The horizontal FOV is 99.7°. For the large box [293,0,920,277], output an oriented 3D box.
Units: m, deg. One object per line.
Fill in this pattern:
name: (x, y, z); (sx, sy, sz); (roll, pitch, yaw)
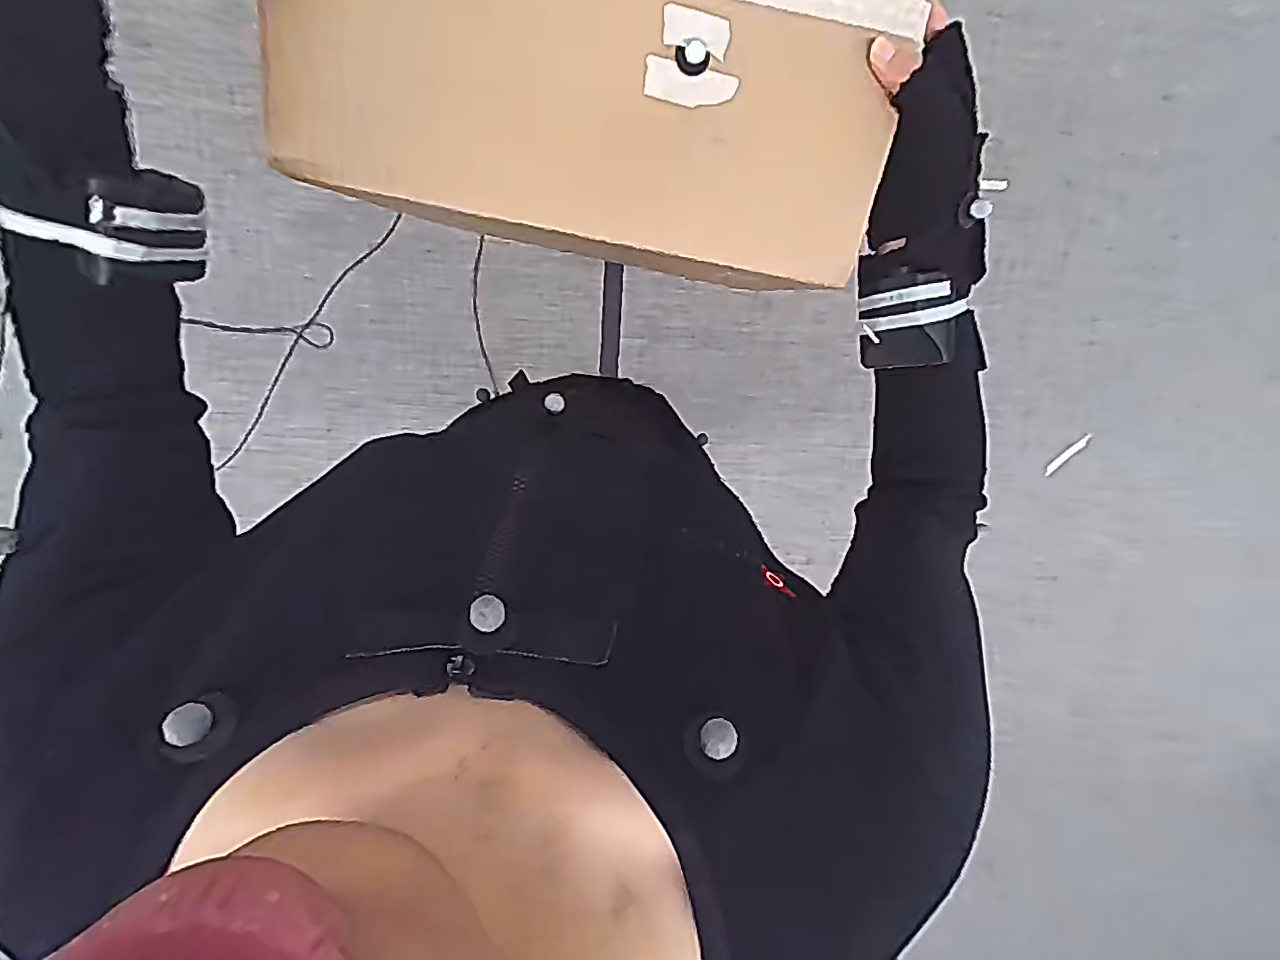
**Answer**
large box: (-0.017, -0.378, 0.479); (0.408, 0.320, 0.320); (10, 110, -3)
